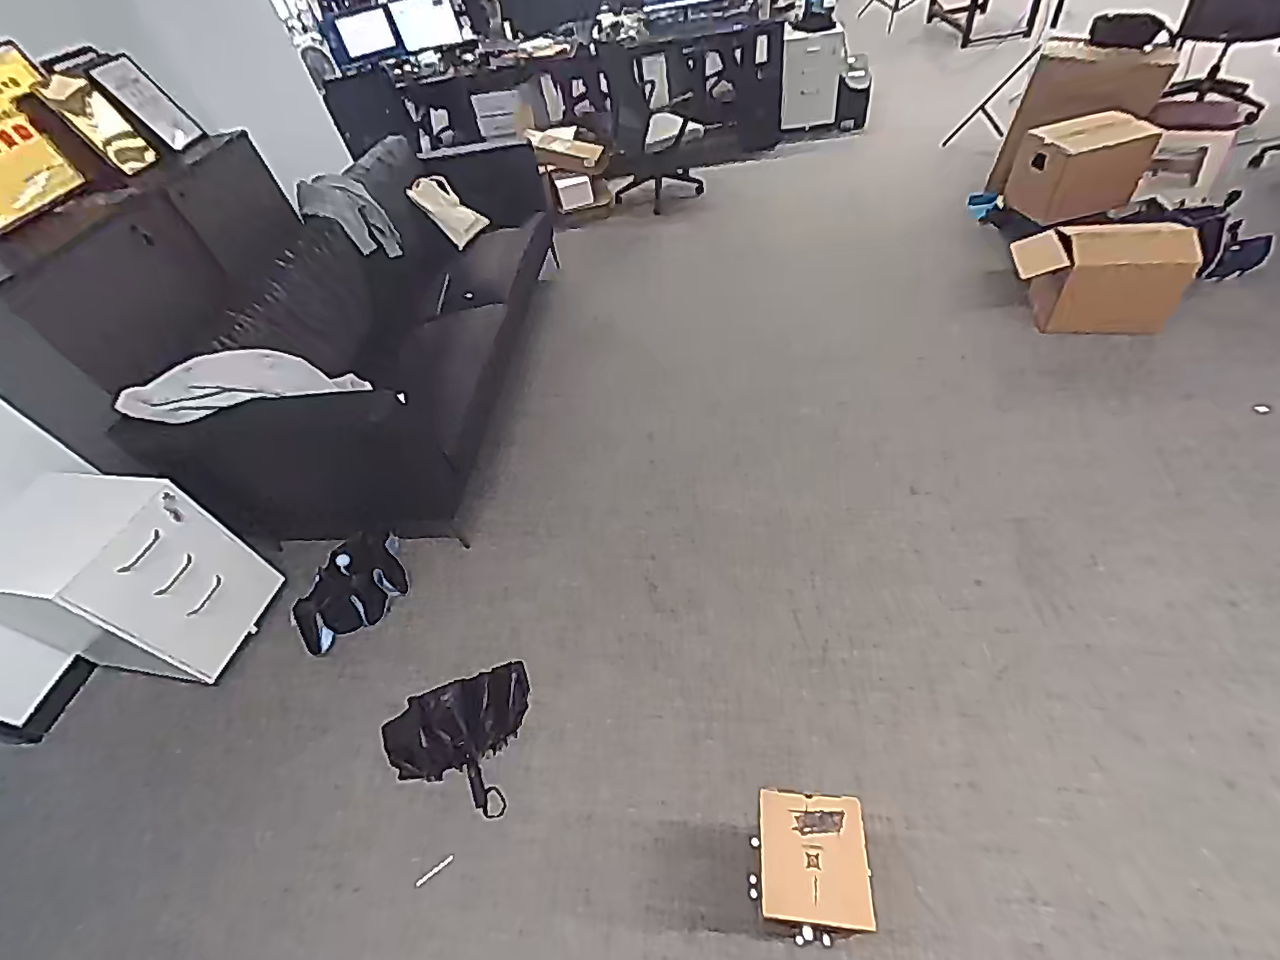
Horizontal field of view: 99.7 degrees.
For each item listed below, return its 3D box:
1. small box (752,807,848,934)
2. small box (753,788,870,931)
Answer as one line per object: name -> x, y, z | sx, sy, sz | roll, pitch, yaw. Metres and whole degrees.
small box -> 0.305, 0.763, 1.055 | 0.168, 0.176, 0.179 | 0, 48, 10
small box -> 0.283, 0.654, 0.933 | 0.168, 0.176, 0.179 | 0, 51, 10
